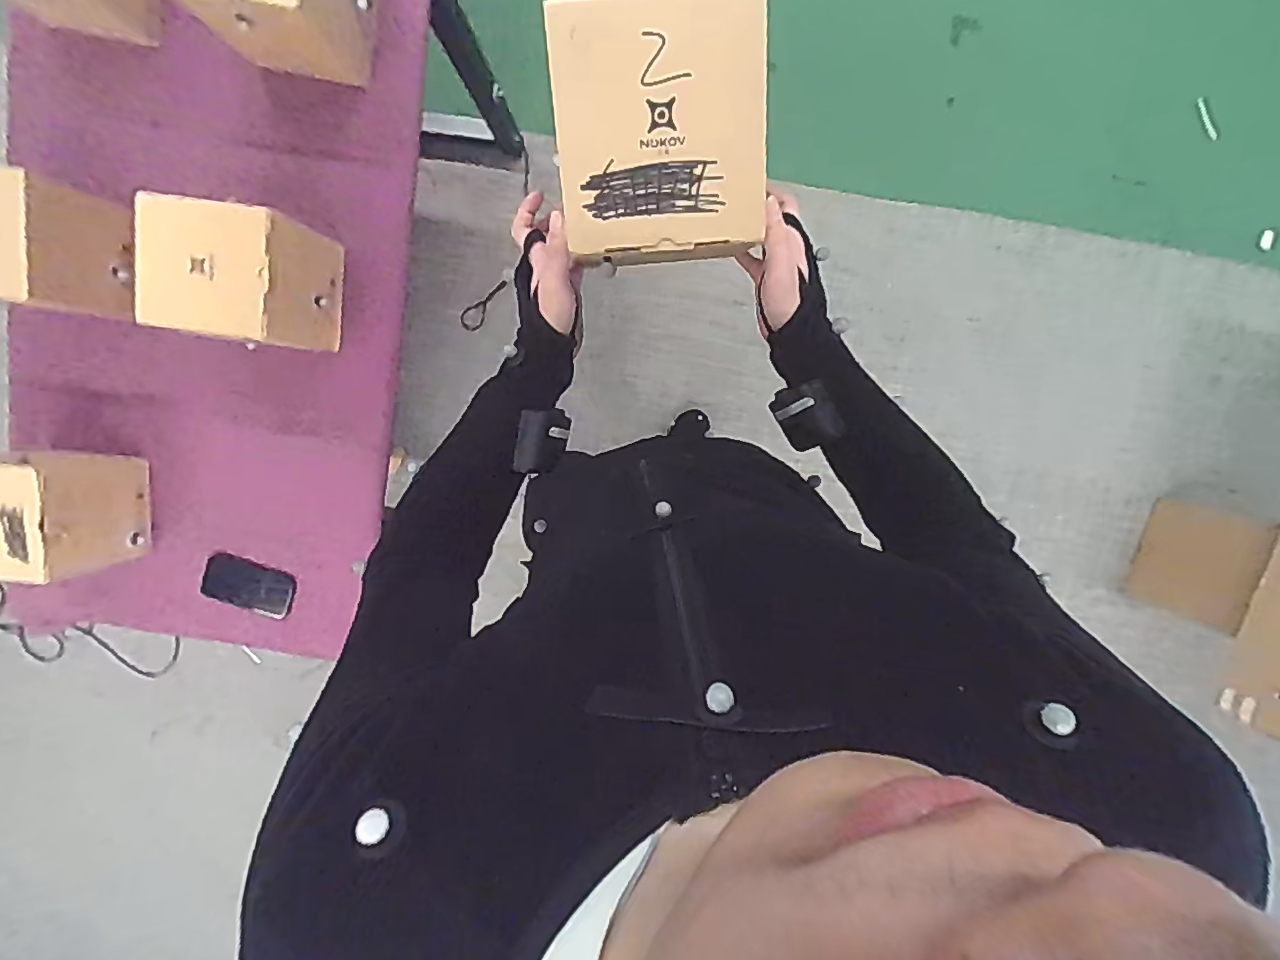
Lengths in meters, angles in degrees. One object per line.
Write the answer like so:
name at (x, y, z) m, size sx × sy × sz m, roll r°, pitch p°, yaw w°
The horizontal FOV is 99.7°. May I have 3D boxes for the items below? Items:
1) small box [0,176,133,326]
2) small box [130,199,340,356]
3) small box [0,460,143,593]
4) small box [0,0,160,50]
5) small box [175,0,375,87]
small box at (-0.881, -0.324, 0.775) m, size 0.179 × 0.176 × 0.168 m, roll 8°, pitch 98°, yaw -1°
small box at (-0.566, -0.276, 0.773) m, size 0.179 × 0.176 × 0.168 m, roll 7°, pitch 97°, yaw 1°
small box at (-0.908, 0.061, 0.821) m, size 0.179 × 0.176 × 0.168 m, roll 5°, pitch 97°, yaw 1°
small box at (-0.799, -0.724, 0.723) m, size 0.179 × 0.176 × 0.168 m, roll 11°, pitch 98°, yaw 0°
small box at (-0.487, -0.665, 0.719) m, size 0.179 × 0.176 × 0.168 m, roll 11°, pitch 98°, yaw 0°
